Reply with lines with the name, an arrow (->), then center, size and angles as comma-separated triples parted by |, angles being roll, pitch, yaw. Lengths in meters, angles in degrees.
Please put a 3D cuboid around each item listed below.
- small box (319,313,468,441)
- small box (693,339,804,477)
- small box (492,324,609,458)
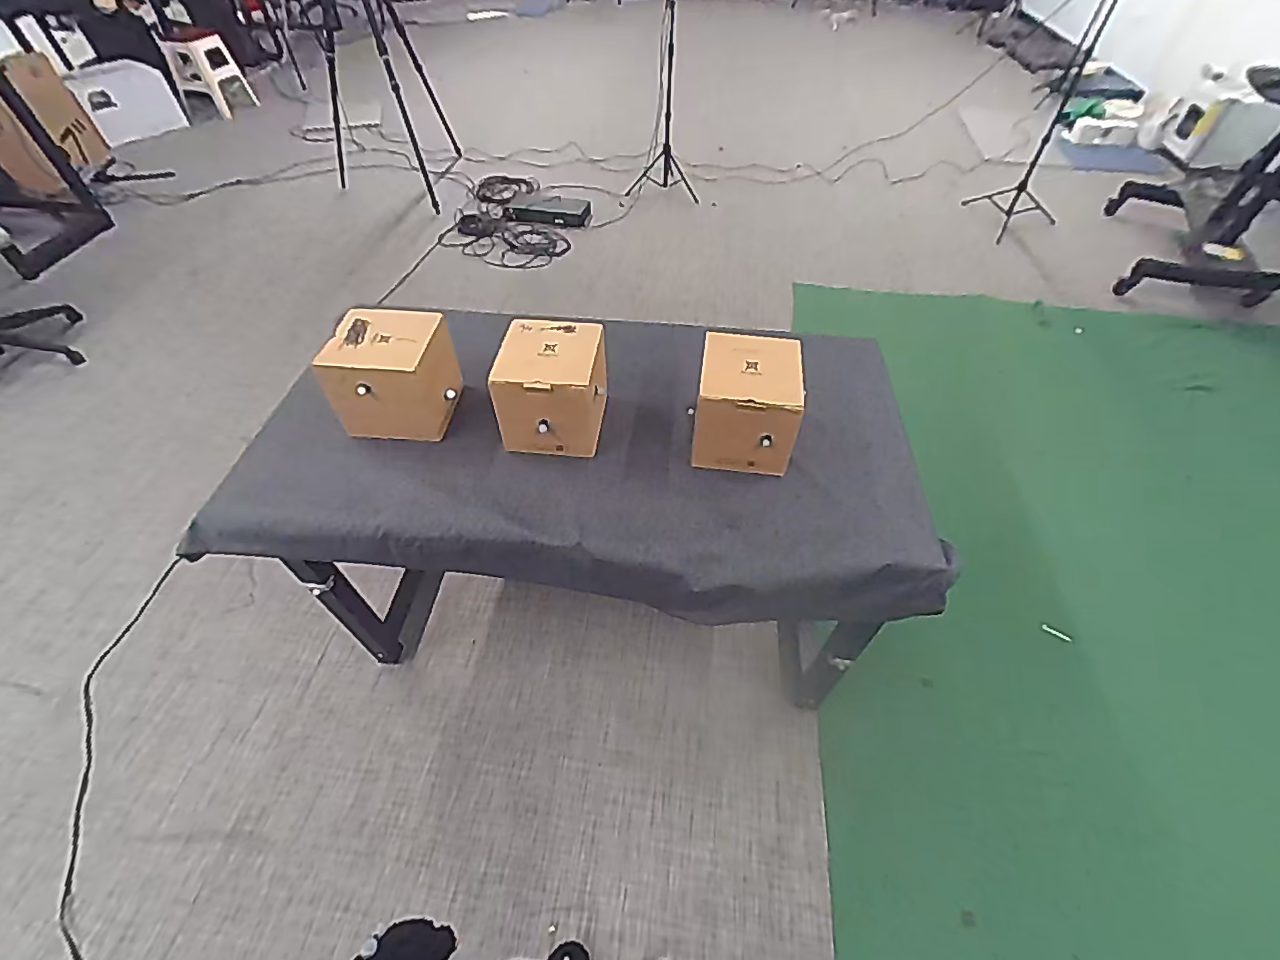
small box -> -0.441, -0.187, 1.001 | 0.179, 0.176, 0.168 | 4, 50, 1
small box -> 0.187, -0.125, 0.959 | 0.168, 0.176, 0.179 | 7, 49, 4
small box -> -0.150, -0.159, 0.982 | 0.168, 0.176, 0.179 | 5, 51, 4
